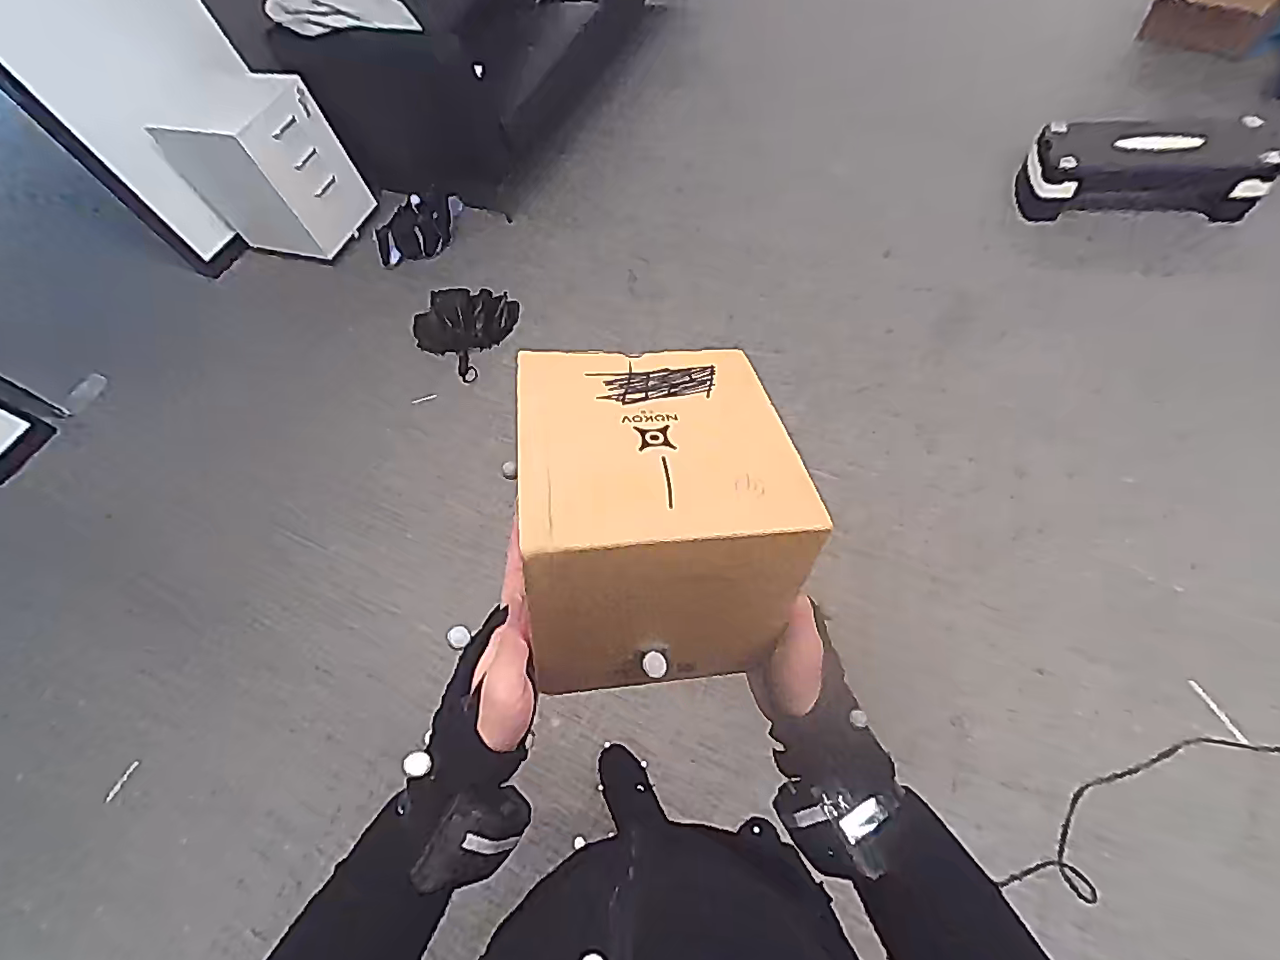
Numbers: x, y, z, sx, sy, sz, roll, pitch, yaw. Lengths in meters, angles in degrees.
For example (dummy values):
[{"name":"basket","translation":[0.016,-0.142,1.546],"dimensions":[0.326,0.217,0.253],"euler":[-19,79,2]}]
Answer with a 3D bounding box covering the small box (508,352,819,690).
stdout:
[{"name":"small box","translation":[-0.002,0.025,0.389],"dimensions":[0.168,0.176,0.179],"euler":[-3,46,-8]}]
